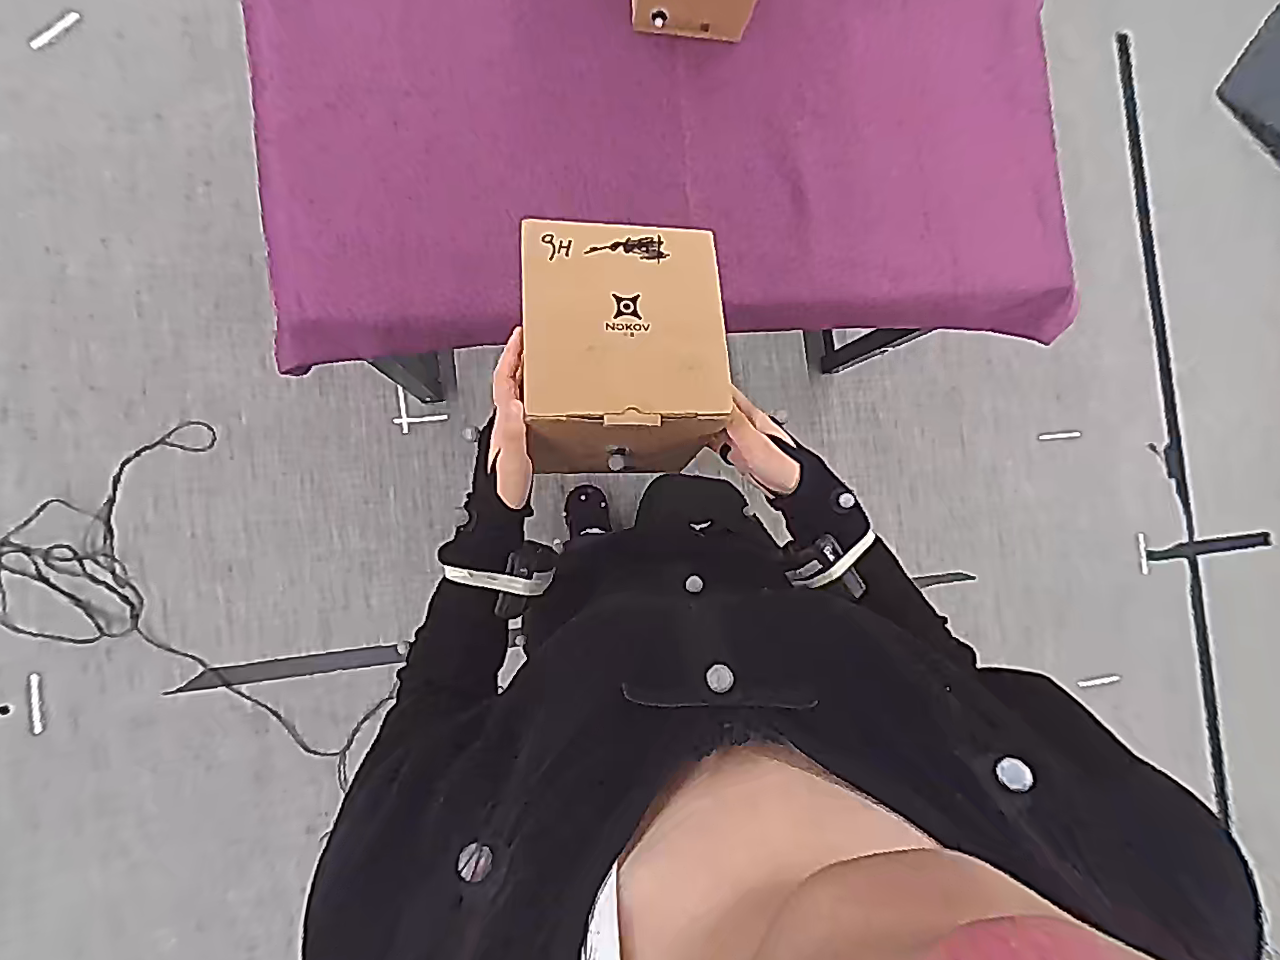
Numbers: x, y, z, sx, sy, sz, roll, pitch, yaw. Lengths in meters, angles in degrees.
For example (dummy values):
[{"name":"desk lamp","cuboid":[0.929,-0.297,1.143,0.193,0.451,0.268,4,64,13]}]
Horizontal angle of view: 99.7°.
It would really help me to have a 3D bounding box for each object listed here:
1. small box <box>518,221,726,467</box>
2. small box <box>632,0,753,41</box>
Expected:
[{"name":"small box","cuboid":[-0.026,-0.112,0.513,0.168,0.176,0.179,-1,76,-9]},{"name":"small box","cuboid":[0.080,-0.745,0.730,0.168,0.176,0.179,-2,89,-10]}]
